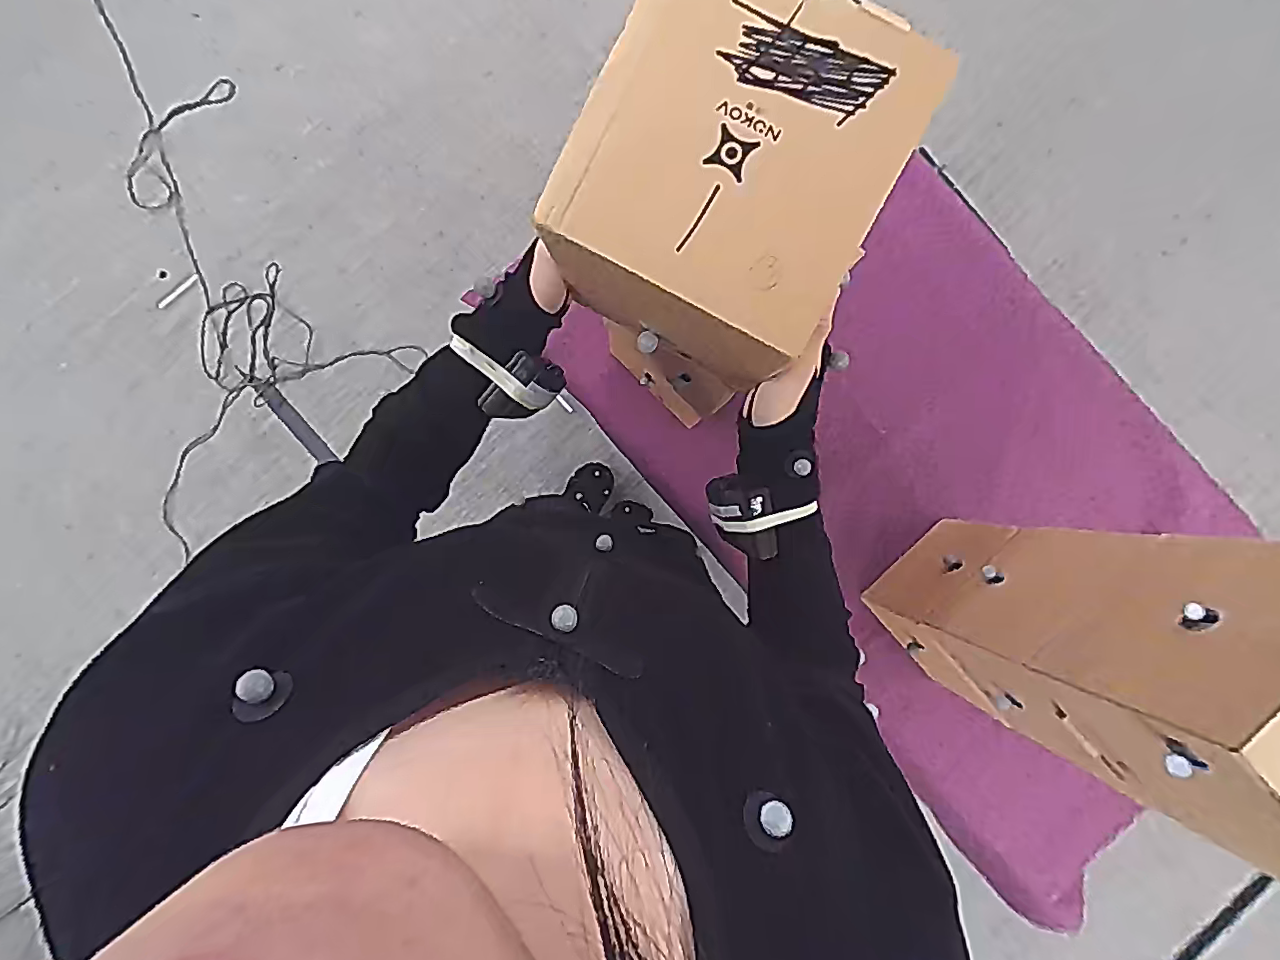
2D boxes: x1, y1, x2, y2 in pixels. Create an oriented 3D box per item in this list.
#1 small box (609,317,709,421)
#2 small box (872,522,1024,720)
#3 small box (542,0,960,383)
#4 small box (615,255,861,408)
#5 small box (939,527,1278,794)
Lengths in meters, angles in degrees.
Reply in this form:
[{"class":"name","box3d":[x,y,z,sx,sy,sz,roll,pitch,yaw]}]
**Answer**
[{"class":"small box","box3d":[0.078,-0.198,0.718,0.168,0.176,0.179,45,87,-1]},{"class":"small box","box3d":[0.442,0.173,0.724,0.179,0.176,0.168,-42,90,-2]},{"class":"small box","box3d":[0.057,-0.183,0.363,0.168,0.176,0.179,28,95,0]},{"class":"small box","box3d":[0.080,-0.194,0.555,0.168,0.176,0.179,43,87,-2]},{"class":"small box","box3d":[0.451,0.166,0.560,0.179,0.176,0.168,-41,90,-2]}]
